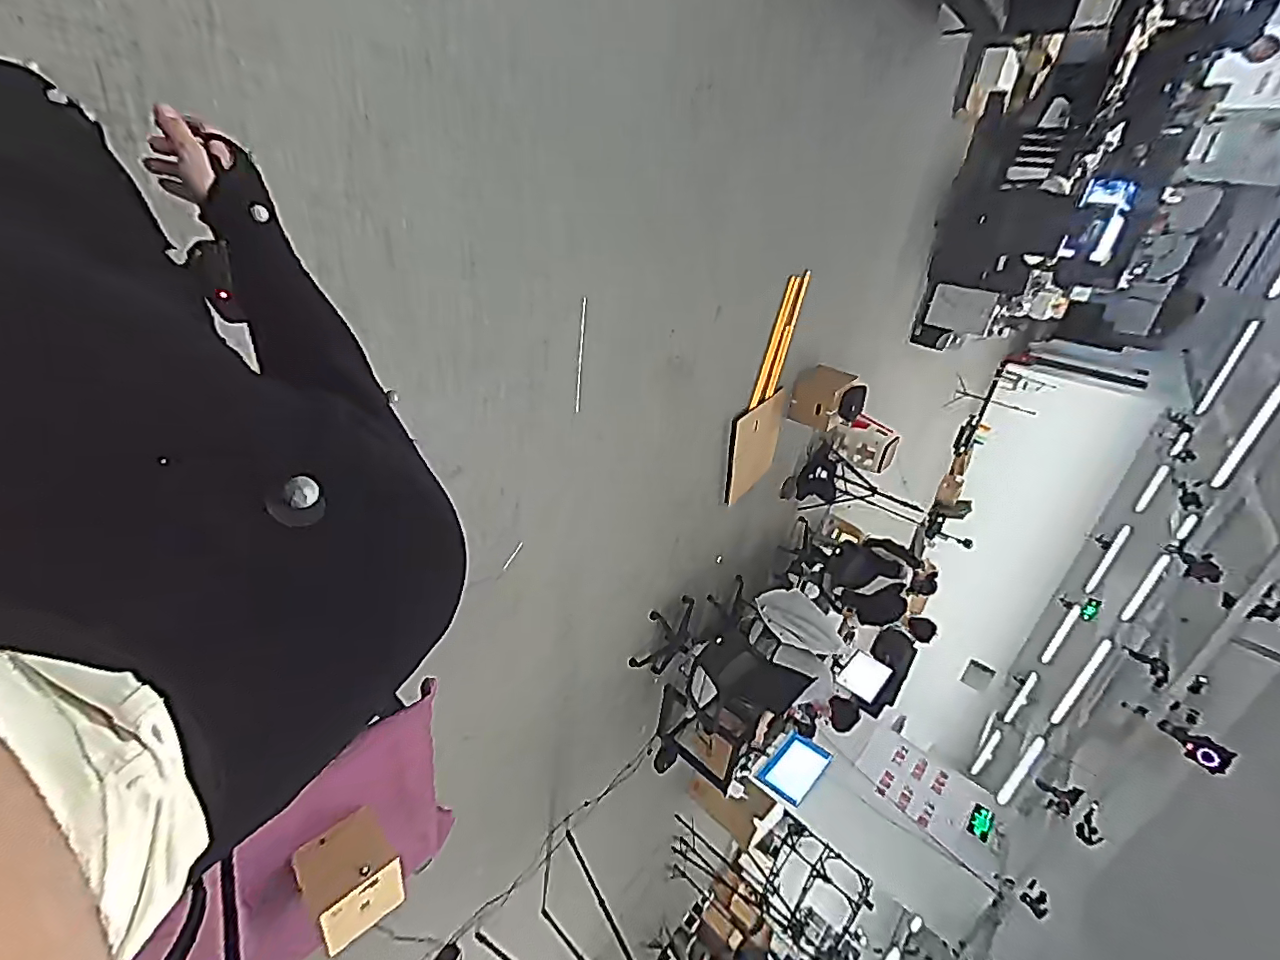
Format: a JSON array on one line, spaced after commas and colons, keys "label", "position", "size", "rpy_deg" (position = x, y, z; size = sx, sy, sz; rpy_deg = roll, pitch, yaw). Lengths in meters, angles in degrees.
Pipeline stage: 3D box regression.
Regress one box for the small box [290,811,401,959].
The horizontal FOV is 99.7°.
[{"label": "small box", "position": [-0.662, 0.901, 1.221], "size": [0.168, 0.176, 0.179], "rpy_deg": [-21, 129, -44]}]
